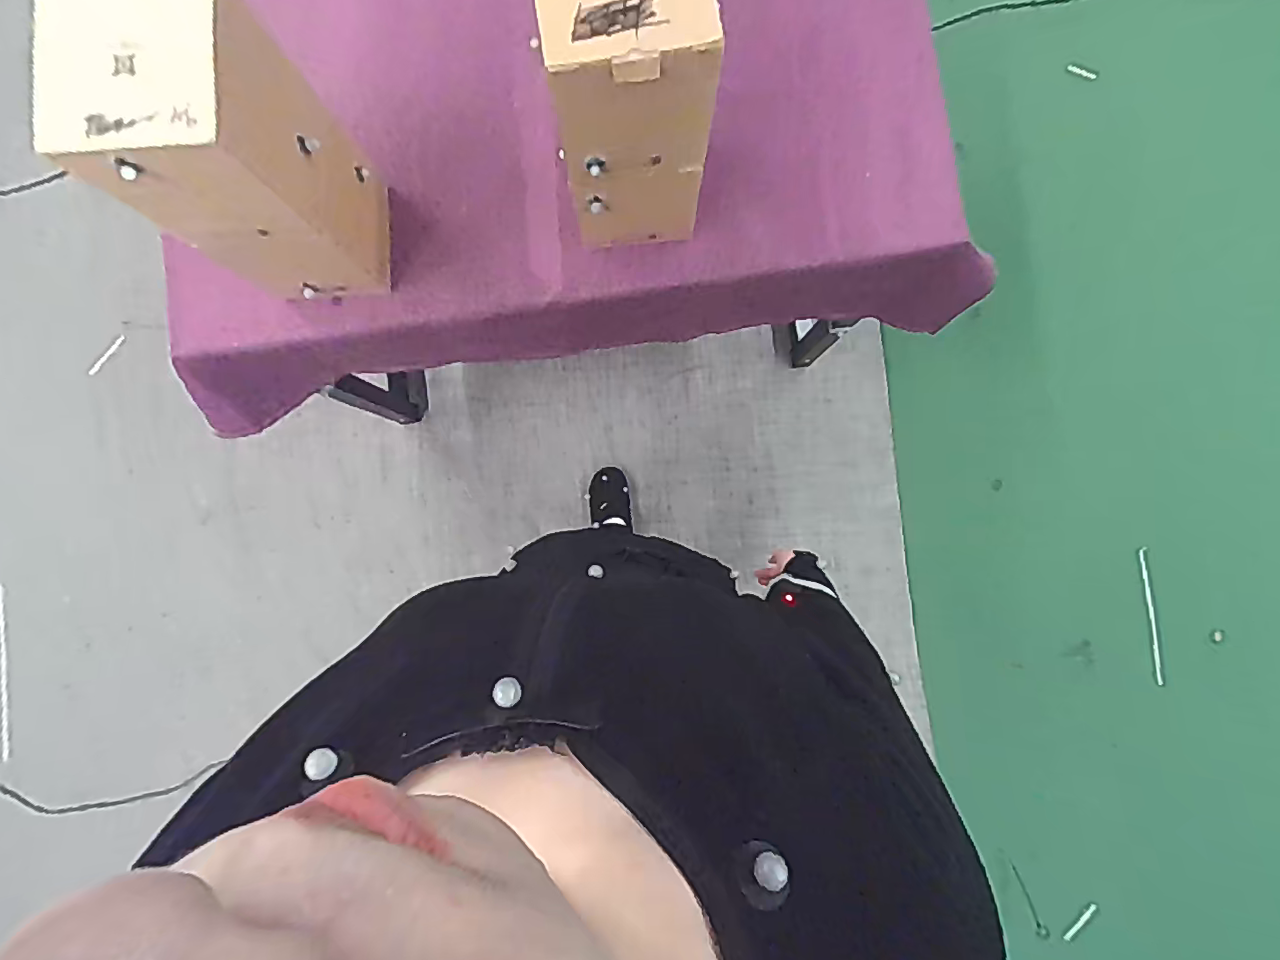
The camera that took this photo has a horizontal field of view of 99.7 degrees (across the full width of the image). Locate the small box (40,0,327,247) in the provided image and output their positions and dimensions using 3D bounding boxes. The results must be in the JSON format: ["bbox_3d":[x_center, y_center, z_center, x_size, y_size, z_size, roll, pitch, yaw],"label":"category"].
[{"bbox_3d":[-0.461,-0.376,0.574,0.168,0.176,0.179,-3,85,2],"label":"small box"}]

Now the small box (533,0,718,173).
[{"bbox_3d":[-0.018,-0.457,0.576,0.168,0.176,0.179,-9,85,0],"label":"small box"}]

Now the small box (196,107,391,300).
[{"bbox_3d":[-0.459,-0.365,0.739,0.168,0.176,0.179,-3,87,1],"label":"small box"}]
